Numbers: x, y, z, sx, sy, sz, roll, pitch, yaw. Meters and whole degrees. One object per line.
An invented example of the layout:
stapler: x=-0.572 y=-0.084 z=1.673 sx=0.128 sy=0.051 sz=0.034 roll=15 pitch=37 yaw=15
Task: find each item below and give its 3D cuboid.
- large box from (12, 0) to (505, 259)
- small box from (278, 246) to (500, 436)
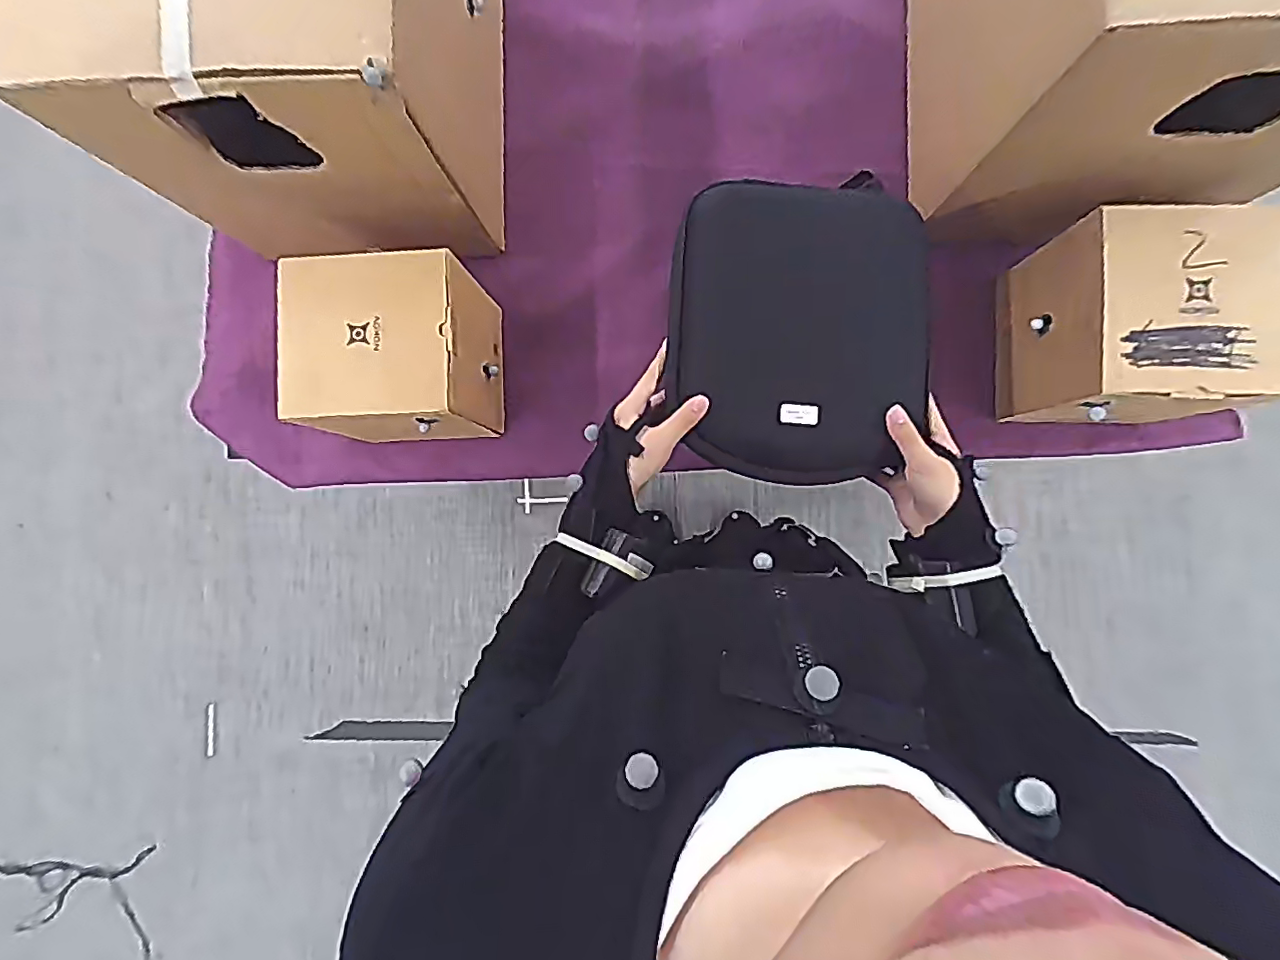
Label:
large box: x=-0.336 y=-0.491 z=0.564 sx=0.320 sy=0.320 sz=0.408 roll=-2 pitch=91 yaw=2
small box: x=-0.274 y=-0.145 z=0.620 sx=0.179 sy=0.176 sz=0.168 roll=-3 pitch=87 yaw=3
